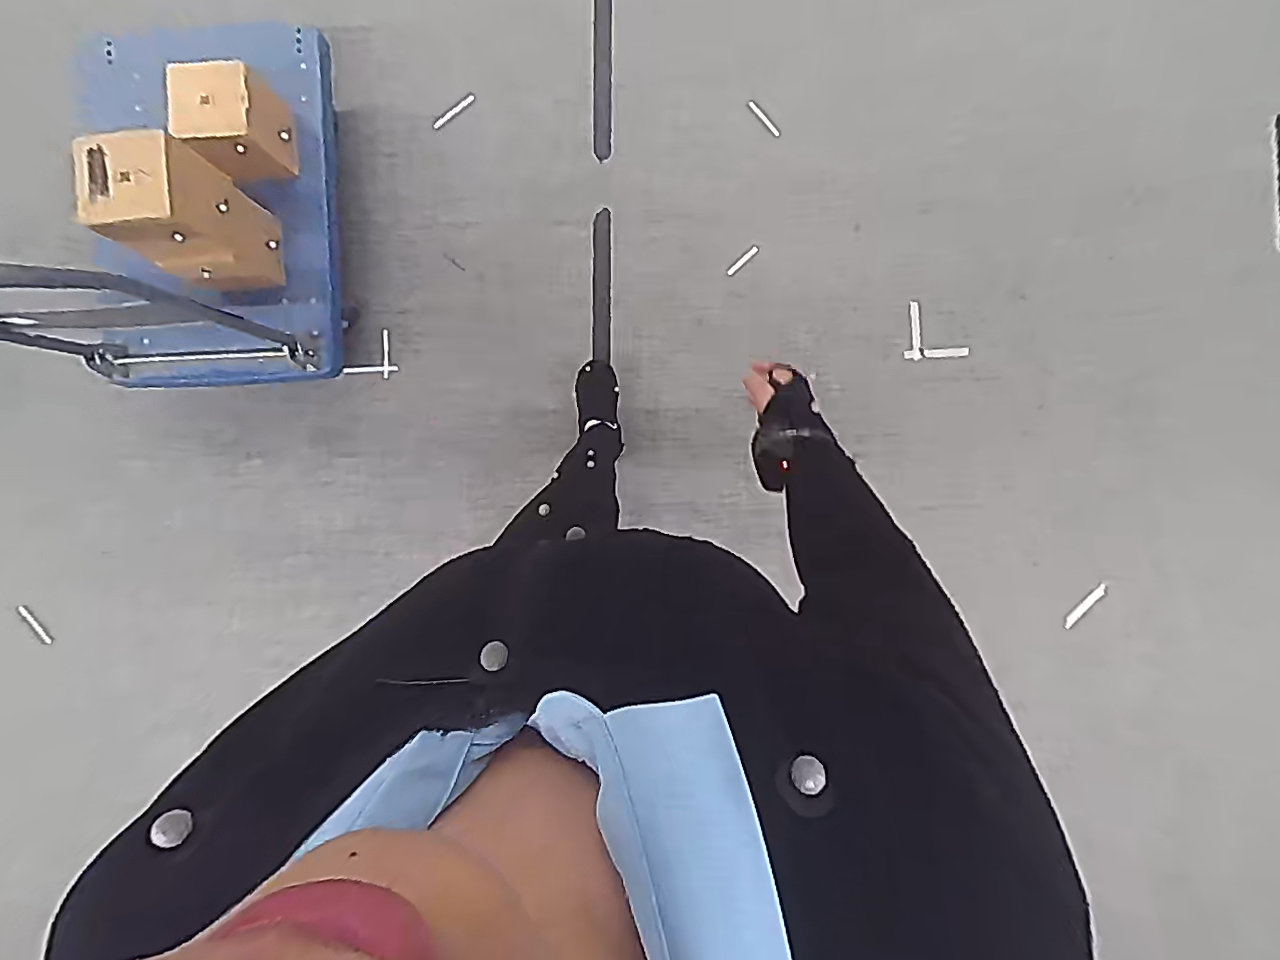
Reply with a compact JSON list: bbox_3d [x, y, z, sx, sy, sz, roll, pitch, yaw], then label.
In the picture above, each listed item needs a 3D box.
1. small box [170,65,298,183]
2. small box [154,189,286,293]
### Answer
[{"bbox_3d":[-0.930,-0.813,1.250,0.179,0.176,0.168,-2,89,1],"label":"small box"},{"bbox_3d":[-0.960,-0.541,1.247,0.179,0.176,0.168,-4,90,1],"label":"small box"}]
